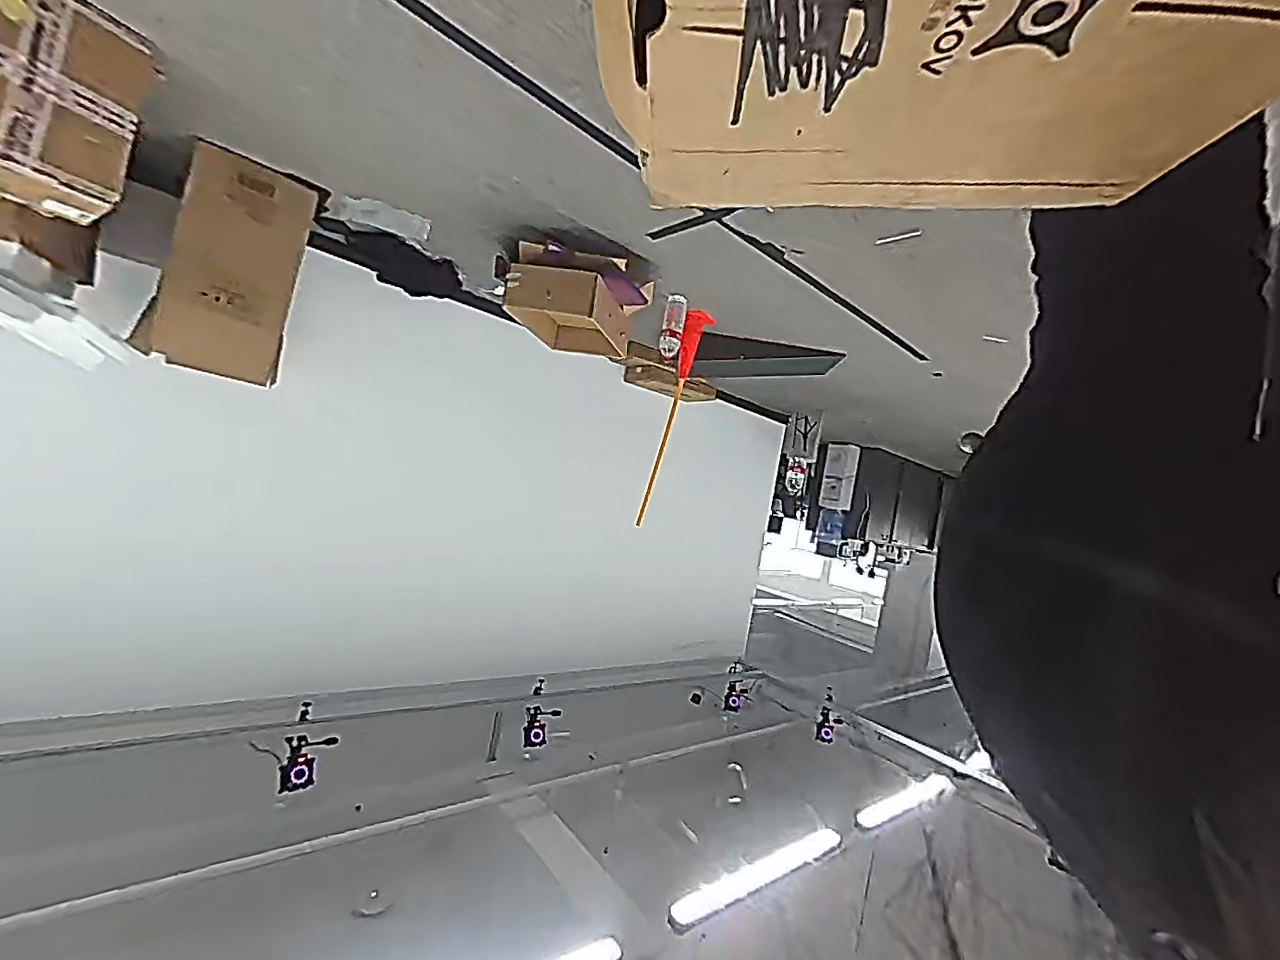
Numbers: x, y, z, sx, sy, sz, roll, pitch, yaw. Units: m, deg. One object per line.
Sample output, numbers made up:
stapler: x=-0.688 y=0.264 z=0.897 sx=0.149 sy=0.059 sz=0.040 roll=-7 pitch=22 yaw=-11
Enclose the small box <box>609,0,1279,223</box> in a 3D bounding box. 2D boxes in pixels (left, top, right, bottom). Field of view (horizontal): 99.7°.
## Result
small box: x=0.083 y=-0.184 z=0.120 sx=0.179 sy=0.176 sz=0.168 roll=2 pitch=178 yaw=2
